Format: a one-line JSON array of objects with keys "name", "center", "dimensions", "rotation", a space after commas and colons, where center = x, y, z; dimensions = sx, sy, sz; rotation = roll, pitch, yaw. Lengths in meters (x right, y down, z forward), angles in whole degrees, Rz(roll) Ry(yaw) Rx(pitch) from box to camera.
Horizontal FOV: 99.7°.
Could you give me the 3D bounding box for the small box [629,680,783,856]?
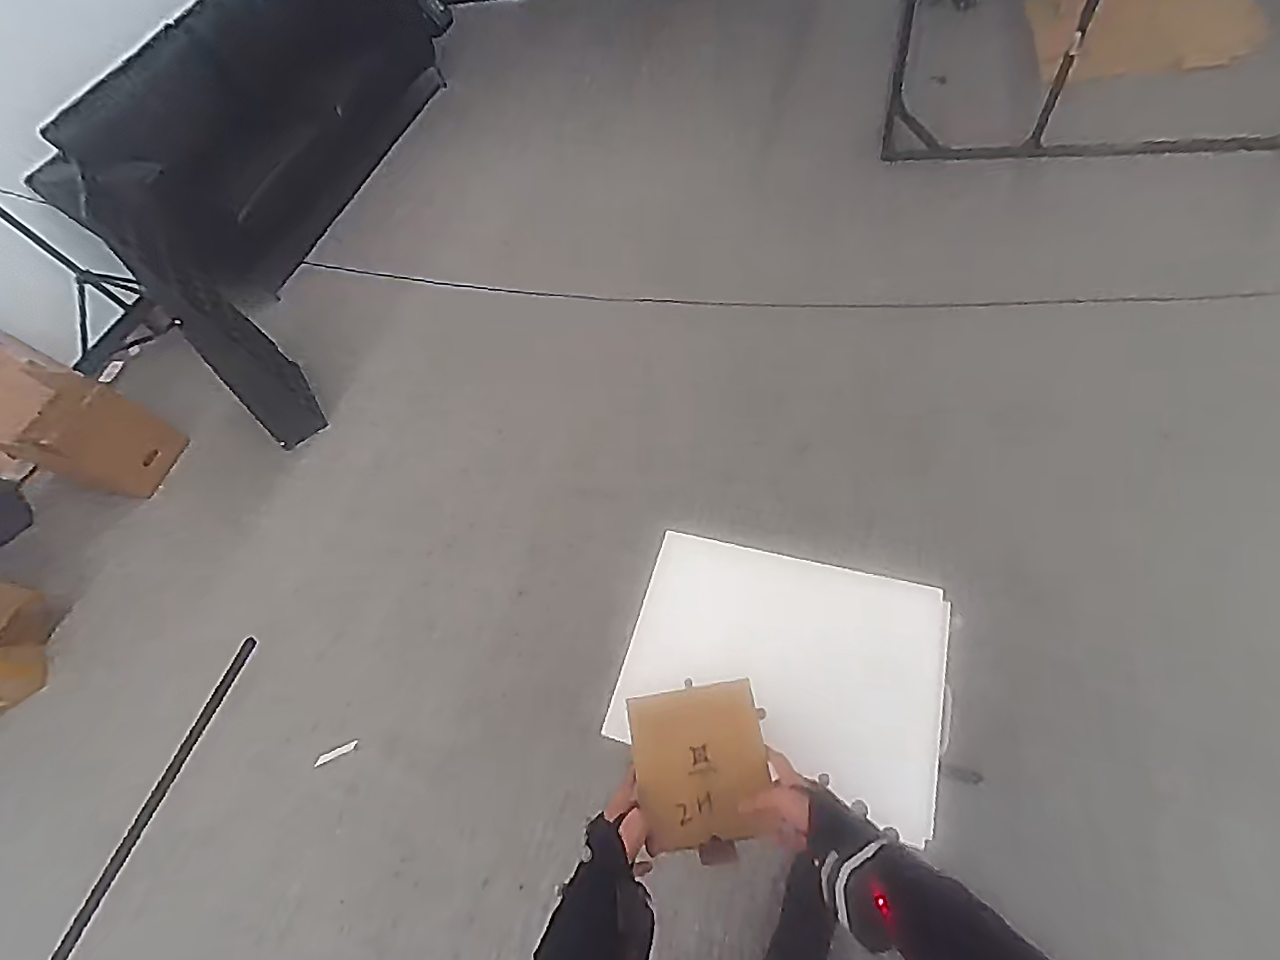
[{"name": "small box", "center": [0.081, 0.380, 0.736], "dimensions": [0.168, 0.176, 0.179], "rotation": [-10, 67, 1]}]
